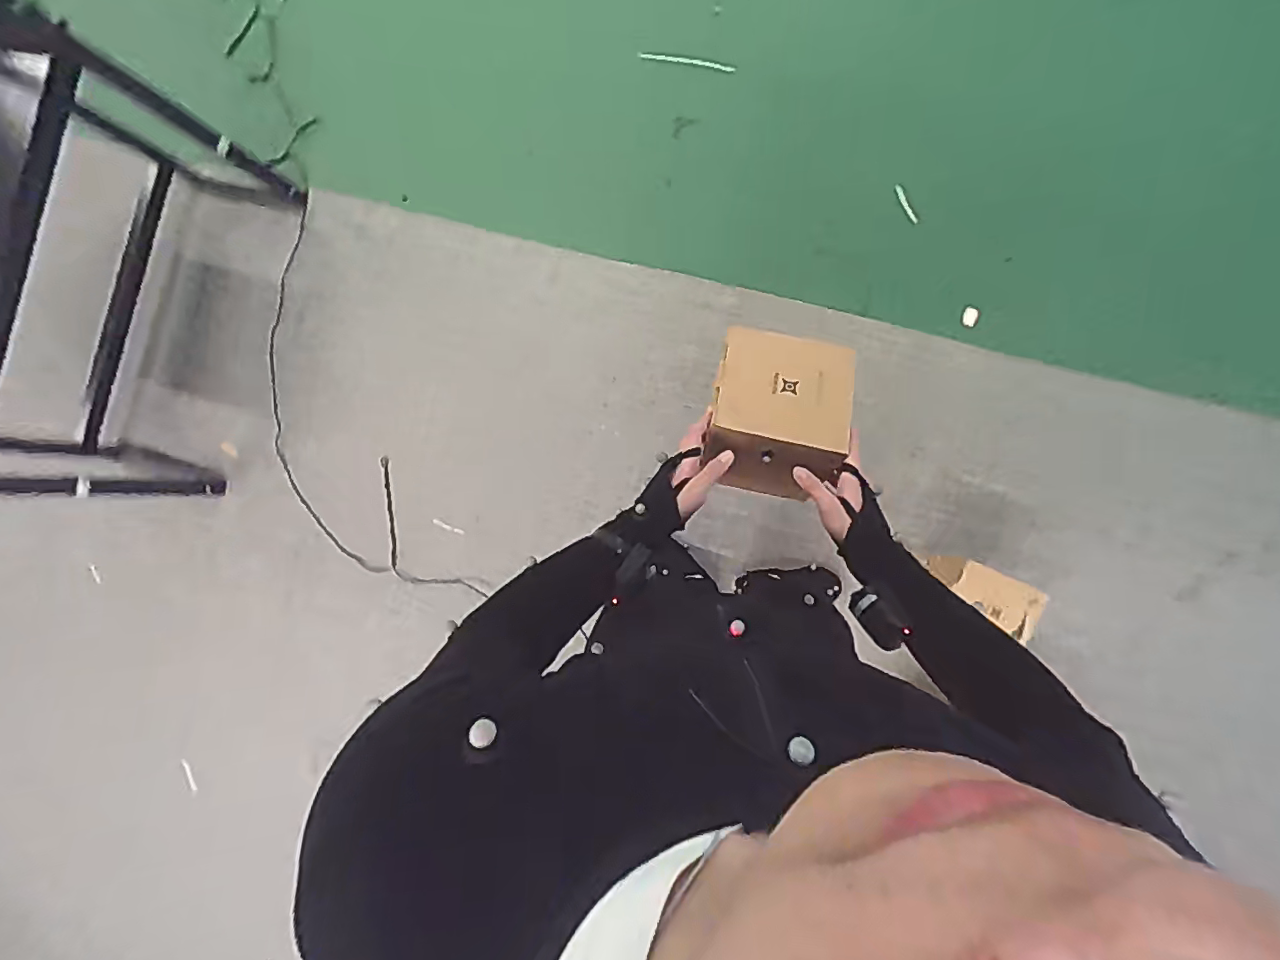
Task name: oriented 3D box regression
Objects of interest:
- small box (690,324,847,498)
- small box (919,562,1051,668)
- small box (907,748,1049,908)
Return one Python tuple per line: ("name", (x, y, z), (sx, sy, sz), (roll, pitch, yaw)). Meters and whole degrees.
("small box", (0.175, -0.090, 0.774), (0.179, 0.176, 0.168), (13, 65, 3))
("small box", (0.774, 0.297, 1.238), (0.179, 0.176, 0.168), (26, 92, 13))
("small box", (0.655, 0.676, 1.073), (0.168, 0.176, 0.179), (19, 91, 12))
